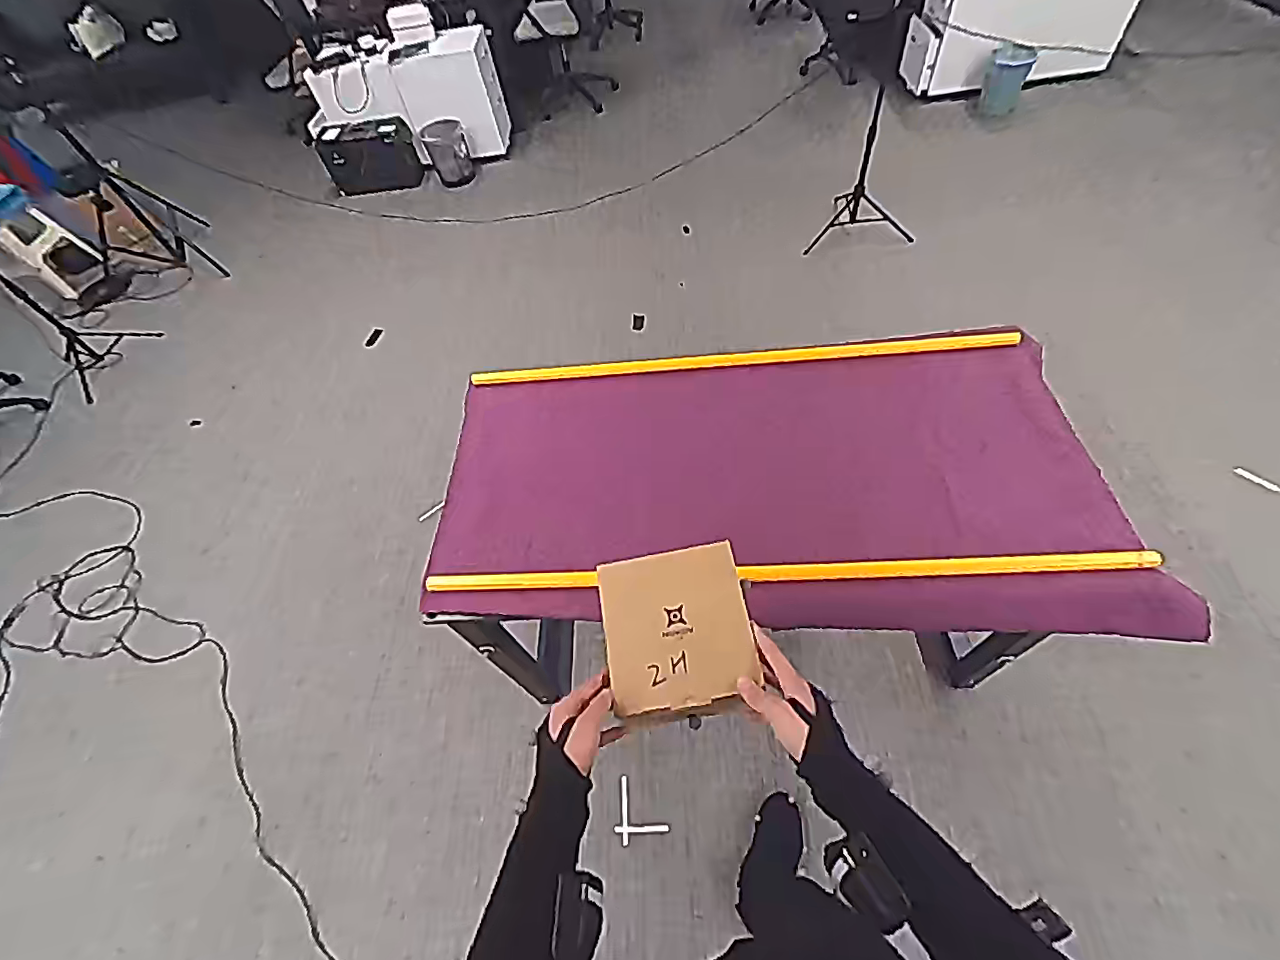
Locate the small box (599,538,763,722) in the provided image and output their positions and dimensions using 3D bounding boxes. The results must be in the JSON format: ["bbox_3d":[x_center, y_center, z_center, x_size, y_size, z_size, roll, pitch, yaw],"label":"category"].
[{"bbox_3d":[0.049,0.195,0.685,0.168,0.176,0.179,-11,61,2],"label":"small box"}]
